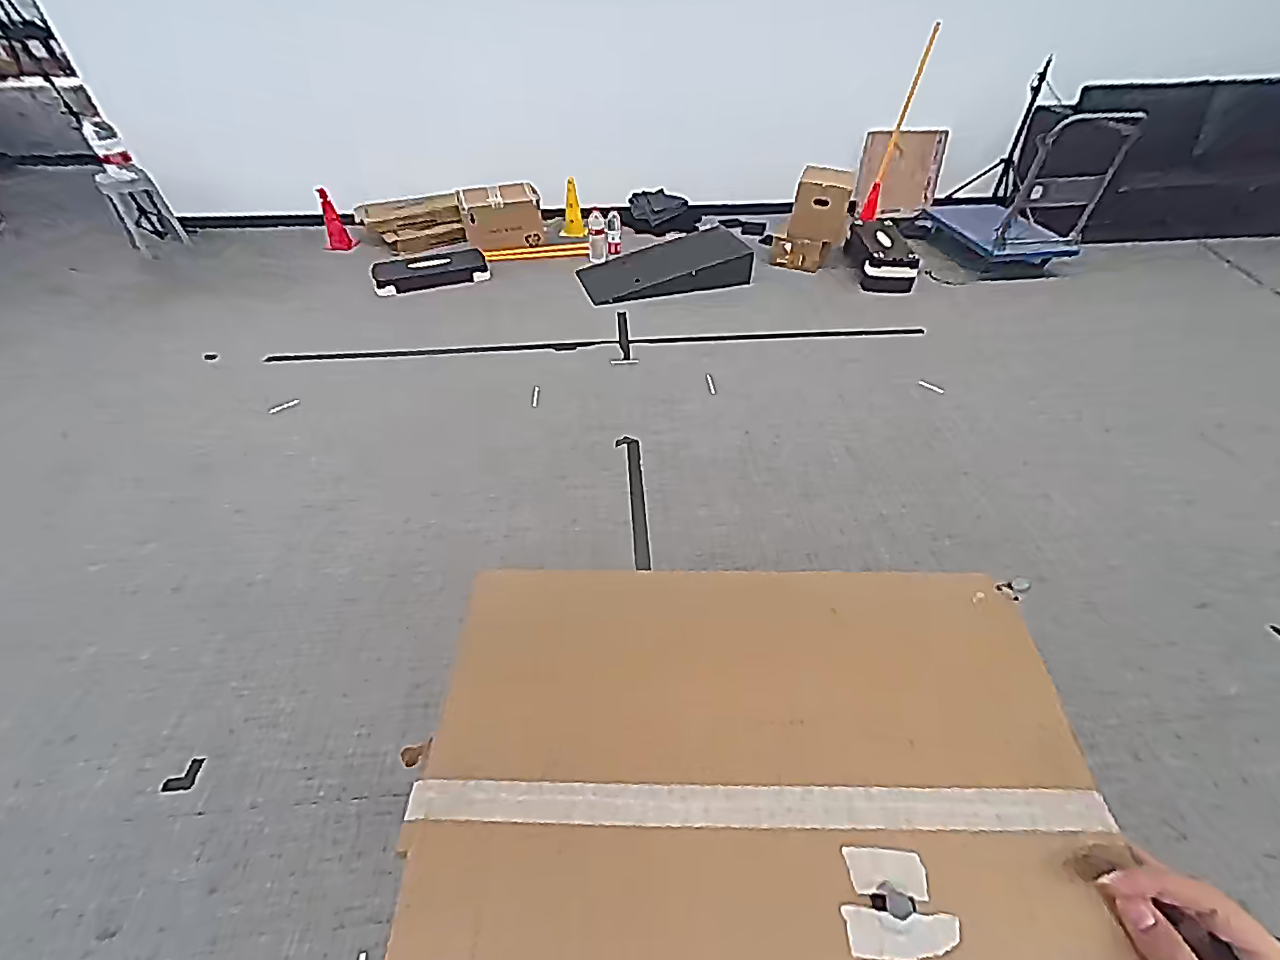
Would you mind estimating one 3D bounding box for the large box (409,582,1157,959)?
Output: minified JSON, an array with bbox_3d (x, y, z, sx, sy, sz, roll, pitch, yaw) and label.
[{"bbox_3d":[0.075,0.294,0.445,0.408,0.320,0.320,0,52,1],"label":"large box"}]
